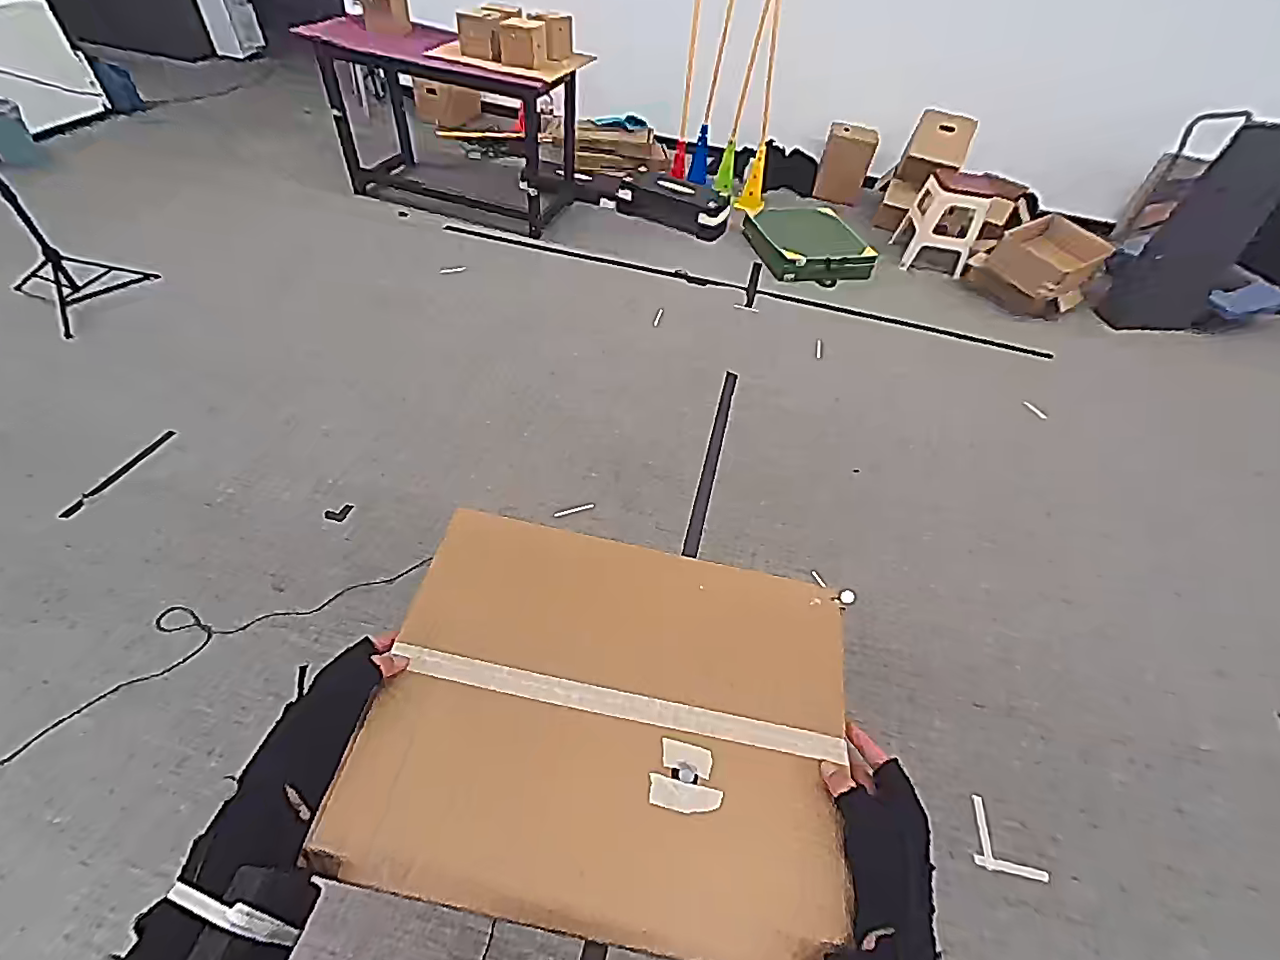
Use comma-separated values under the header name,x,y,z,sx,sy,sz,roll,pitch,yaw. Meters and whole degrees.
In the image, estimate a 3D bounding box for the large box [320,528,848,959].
name,x,y,z,sx,sy,sz,roll,pitch,yaw
large box,-0.036,0.293,0.600,0.408,0.320,0.320,12,55,1
